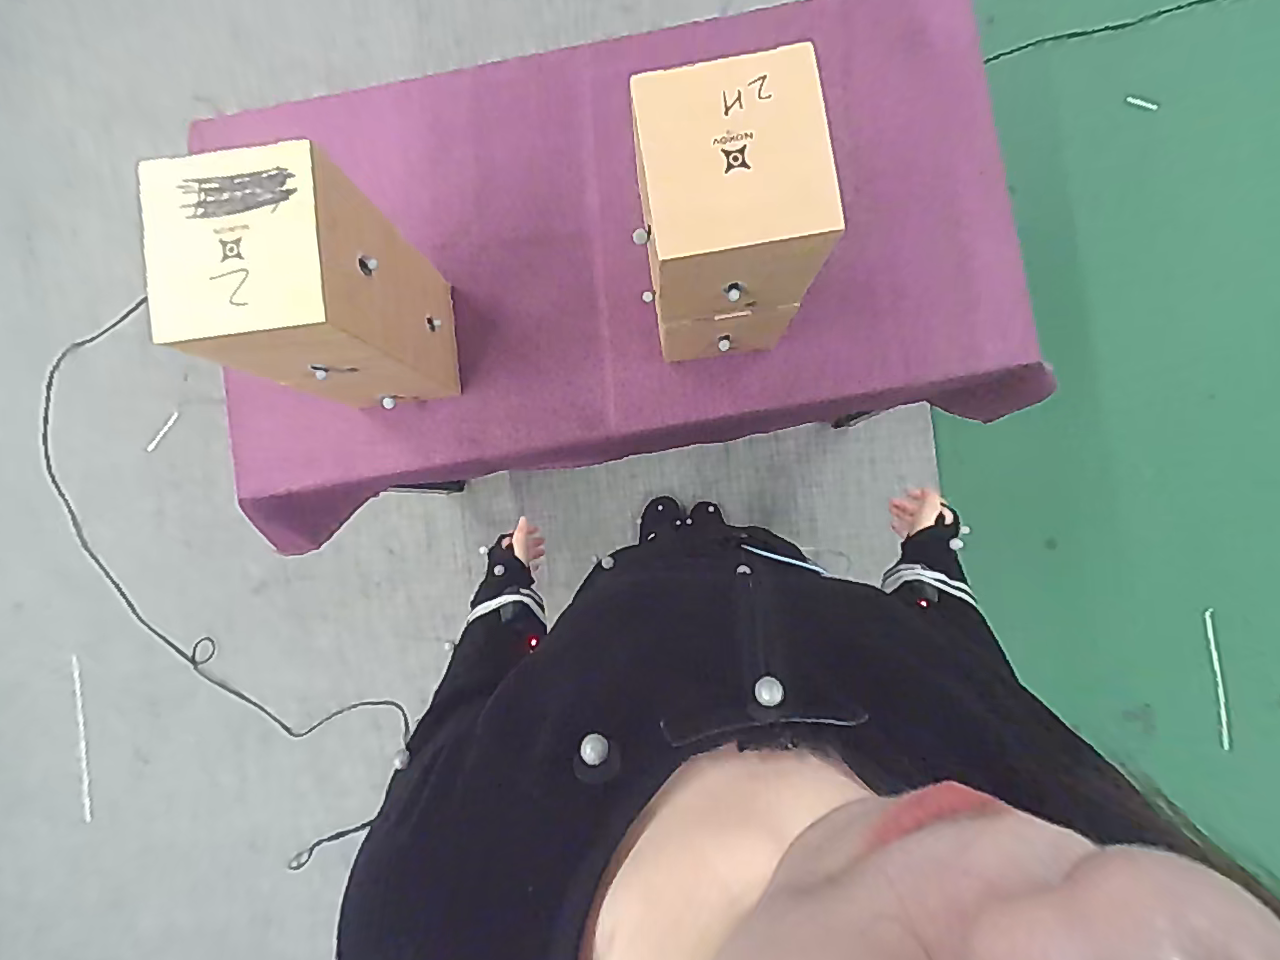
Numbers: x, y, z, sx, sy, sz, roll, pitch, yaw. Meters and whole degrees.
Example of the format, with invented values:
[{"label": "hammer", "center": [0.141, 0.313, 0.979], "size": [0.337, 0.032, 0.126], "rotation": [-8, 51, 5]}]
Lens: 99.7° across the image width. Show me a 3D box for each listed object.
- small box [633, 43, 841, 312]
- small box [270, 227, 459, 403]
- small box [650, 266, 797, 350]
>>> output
[{"label": "small box", "center": [0.088, -0.286, 0.555], "size": [0.168, 0.176, 0.179], "rotation": [-8, 87, 2]}, {"label": "small box", "center": [-0.362, -0.213, 0.737], "size": [0.168, 0.176, 0.179], "rotation": [-6, 89, 2]}, {"label": "small box", "center": [0.099, -0.280, 0.721], "size": [0.168, 0.176, 0.179], "rotation": [-8, 88, 2]}]
